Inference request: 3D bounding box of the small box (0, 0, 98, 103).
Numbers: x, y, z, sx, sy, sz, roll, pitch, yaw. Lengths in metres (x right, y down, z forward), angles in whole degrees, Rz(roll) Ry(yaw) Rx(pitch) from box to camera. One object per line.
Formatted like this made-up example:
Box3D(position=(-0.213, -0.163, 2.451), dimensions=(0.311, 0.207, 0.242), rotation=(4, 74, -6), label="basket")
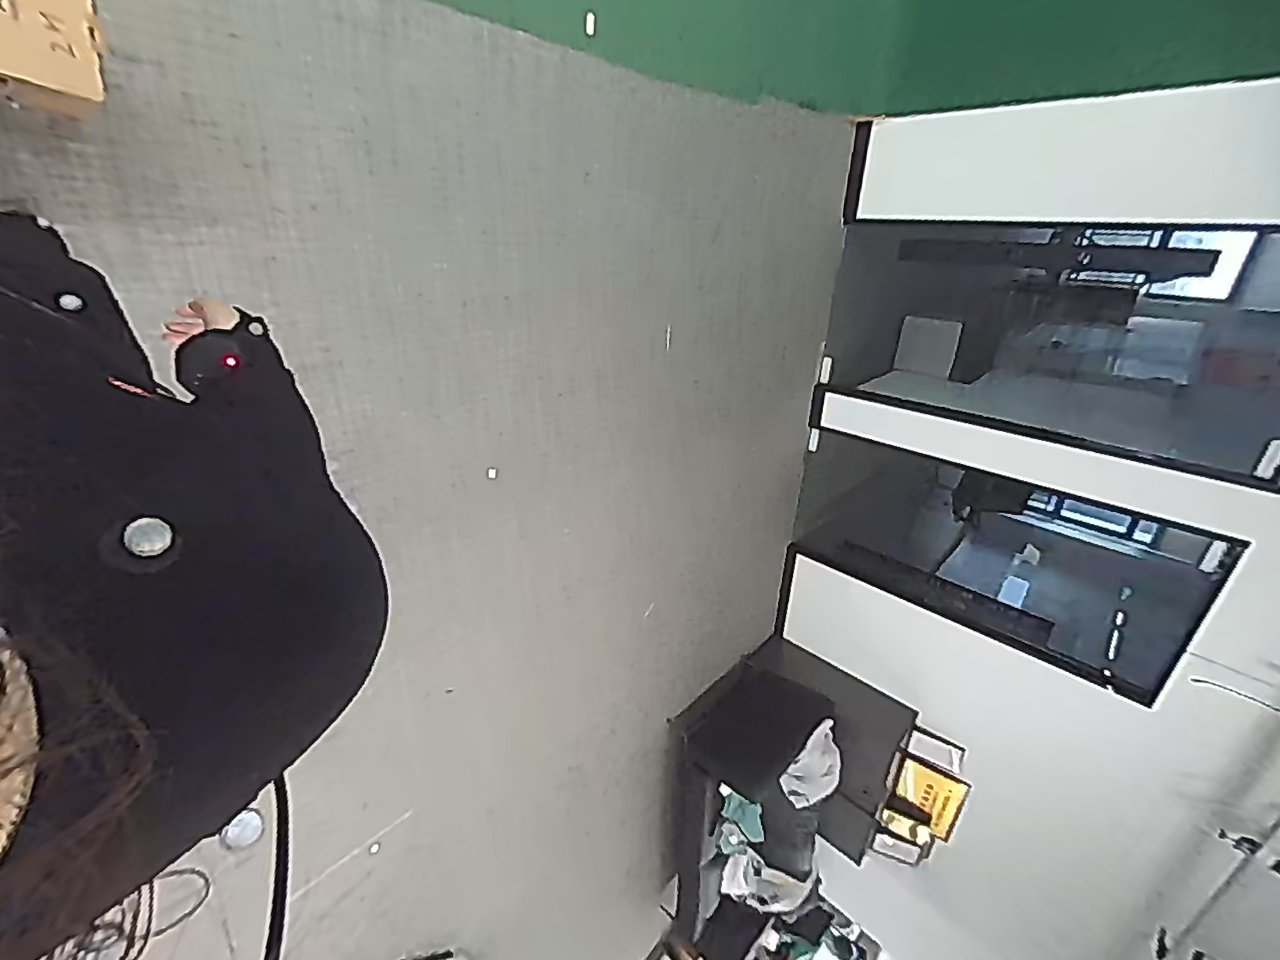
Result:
Box3D(position=(-0.852, -0.624, 0.713), dimensions=(0.179, 0.176, 0.168), rotation=(-10, 117, -47), label="small box")
